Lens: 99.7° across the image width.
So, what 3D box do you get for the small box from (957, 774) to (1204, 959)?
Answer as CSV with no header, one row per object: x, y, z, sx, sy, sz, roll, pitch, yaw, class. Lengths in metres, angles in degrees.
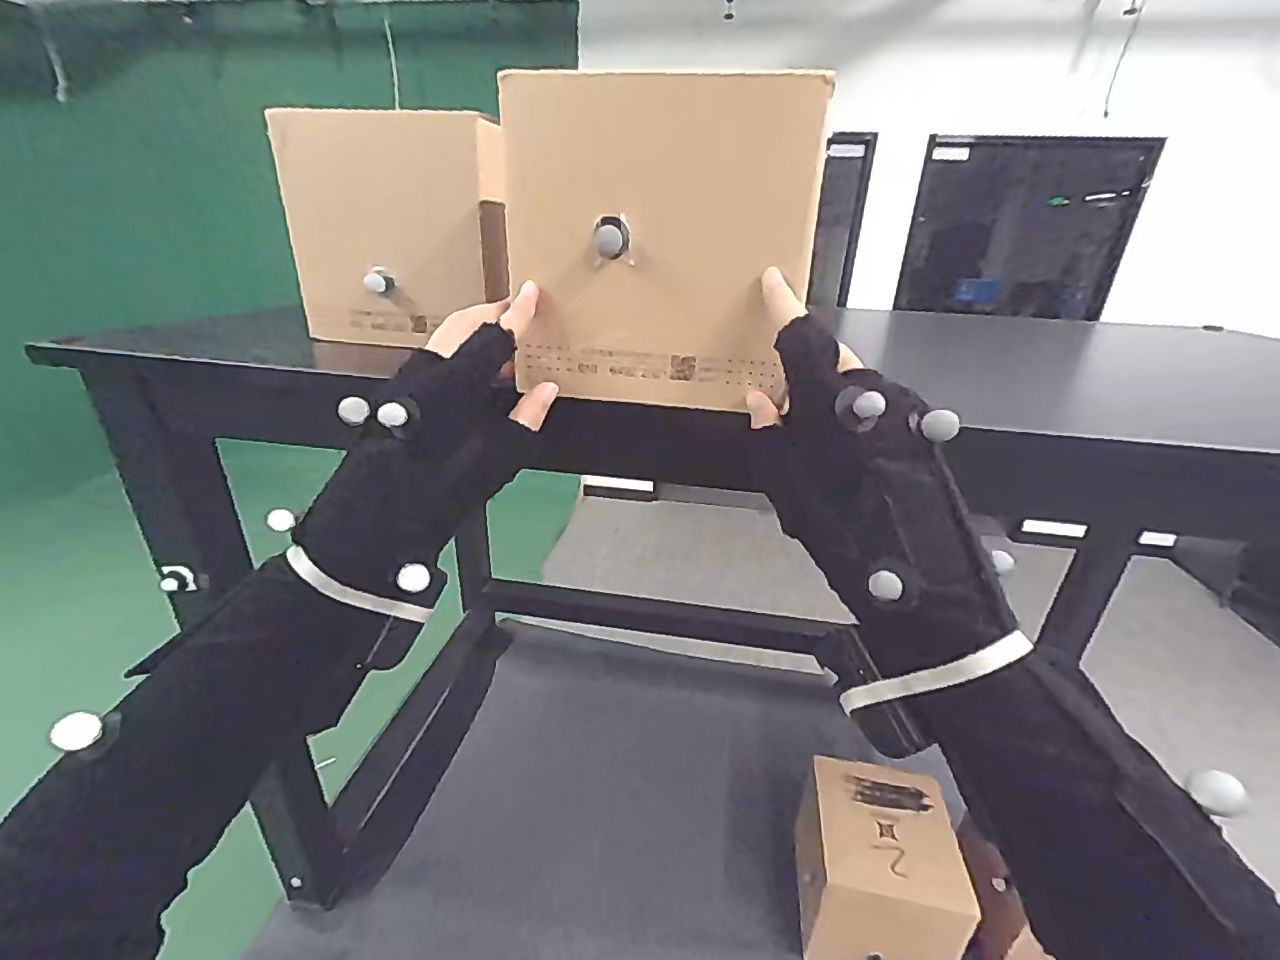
0.536,0.525,0.692,0.168,0.176,0.179,7,24,11,small box

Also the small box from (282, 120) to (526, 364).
-0.176,-0.212,0.494,0.168,0.176,0.179,6,25,9,small box

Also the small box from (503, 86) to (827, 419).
0.022,-0.147,0.372,0.168,0.176,0.179,6,24,8,small box
